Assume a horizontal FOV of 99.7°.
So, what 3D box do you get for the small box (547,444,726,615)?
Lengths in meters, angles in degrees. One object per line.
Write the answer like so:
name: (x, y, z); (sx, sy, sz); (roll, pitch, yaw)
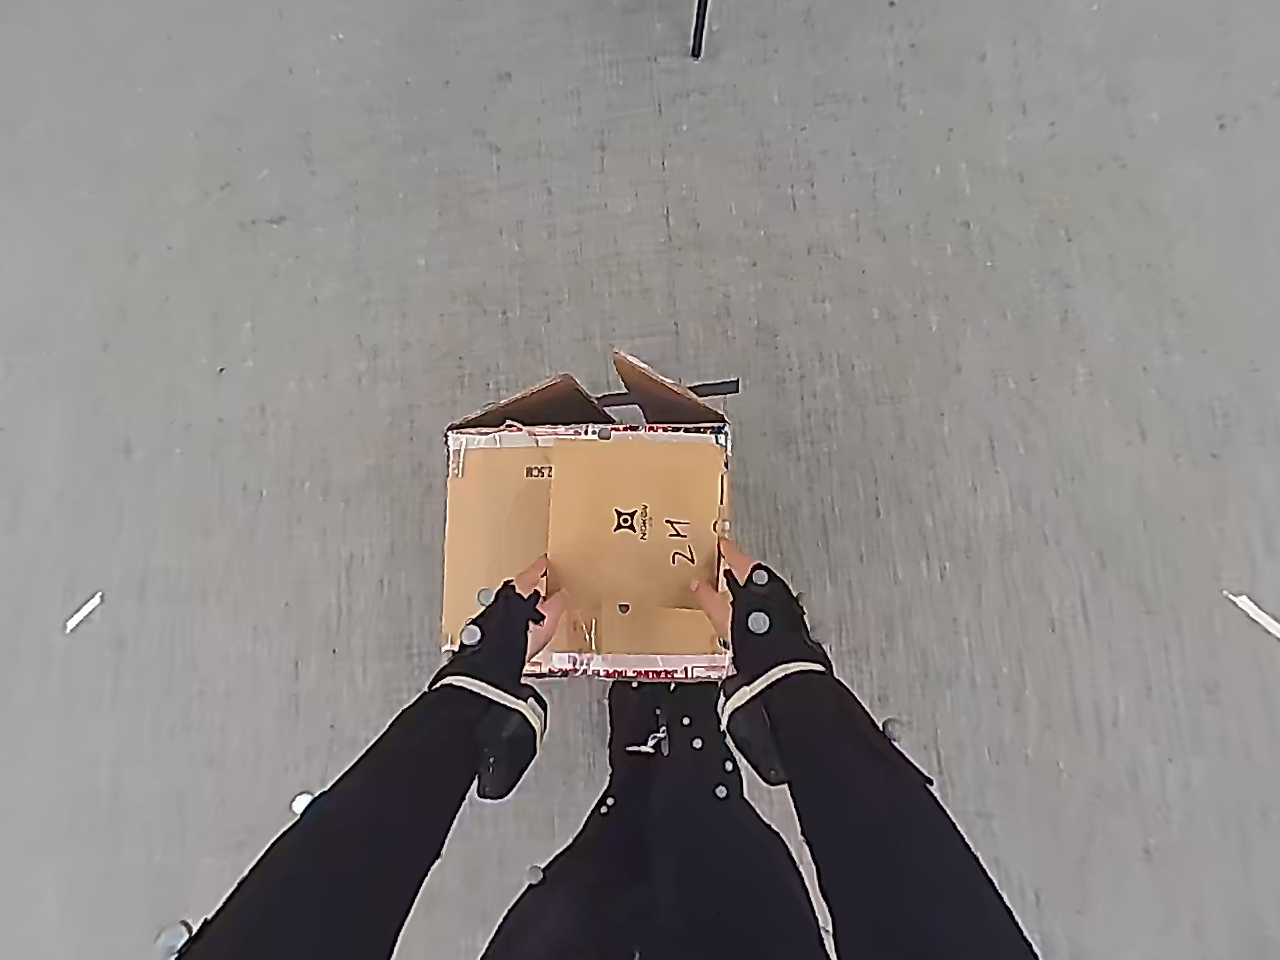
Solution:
small box: (0.004, 0.053, 0.620); (0.179, 0.176, 0.168); (2, 87, 6)
